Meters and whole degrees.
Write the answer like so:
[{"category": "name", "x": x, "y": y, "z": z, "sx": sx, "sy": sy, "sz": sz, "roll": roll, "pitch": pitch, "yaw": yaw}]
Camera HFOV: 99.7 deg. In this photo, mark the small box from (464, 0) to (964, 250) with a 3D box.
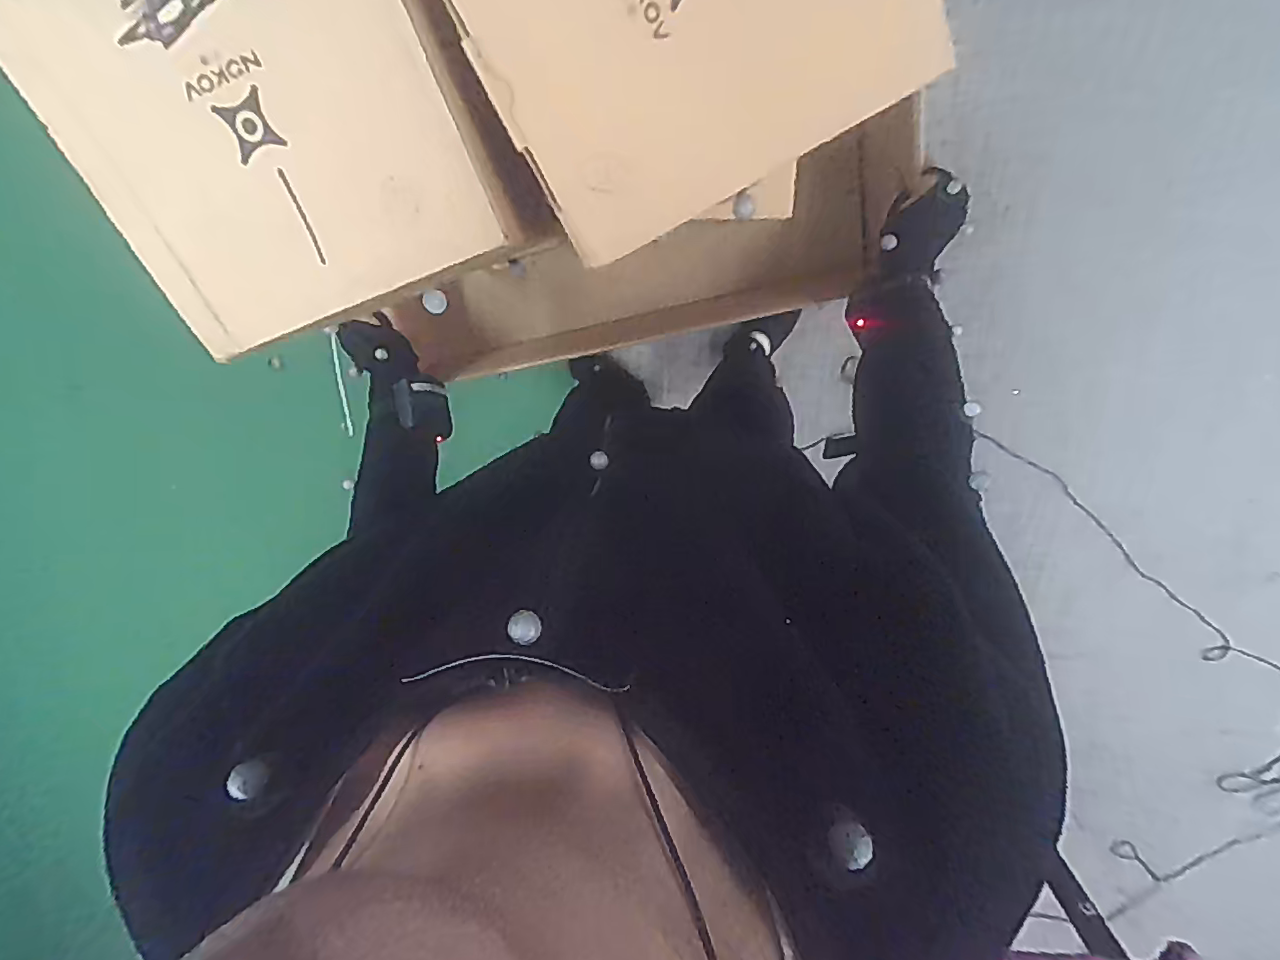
[{"category": "small box", "x": 0.024, "y": -0.239, "z": 0.282, "sx": 0.179, "sy": 0.176, "sz": 0.168, "roll": -24, "pitch": 112, "yaw": 13}]
